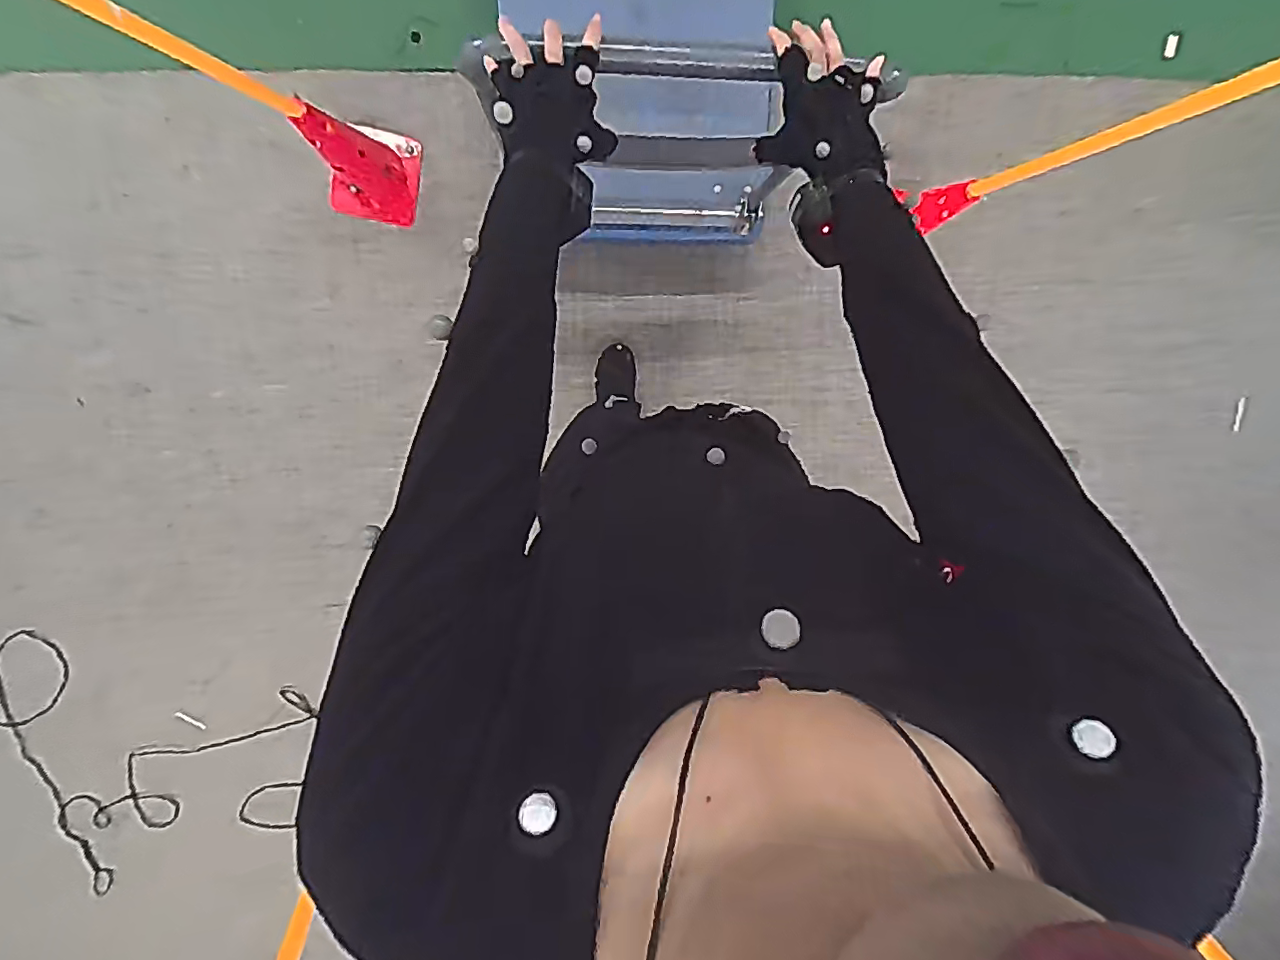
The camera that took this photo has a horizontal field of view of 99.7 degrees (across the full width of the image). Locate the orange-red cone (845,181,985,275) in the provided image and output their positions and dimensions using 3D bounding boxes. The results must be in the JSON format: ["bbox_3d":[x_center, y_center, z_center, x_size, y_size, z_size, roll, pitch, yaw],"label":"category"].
[{"bbox_3d":[0.661,-0.615,1.251,0.198,0.360,0.199,9,102,-6],"label":"orange-red cone"}]
